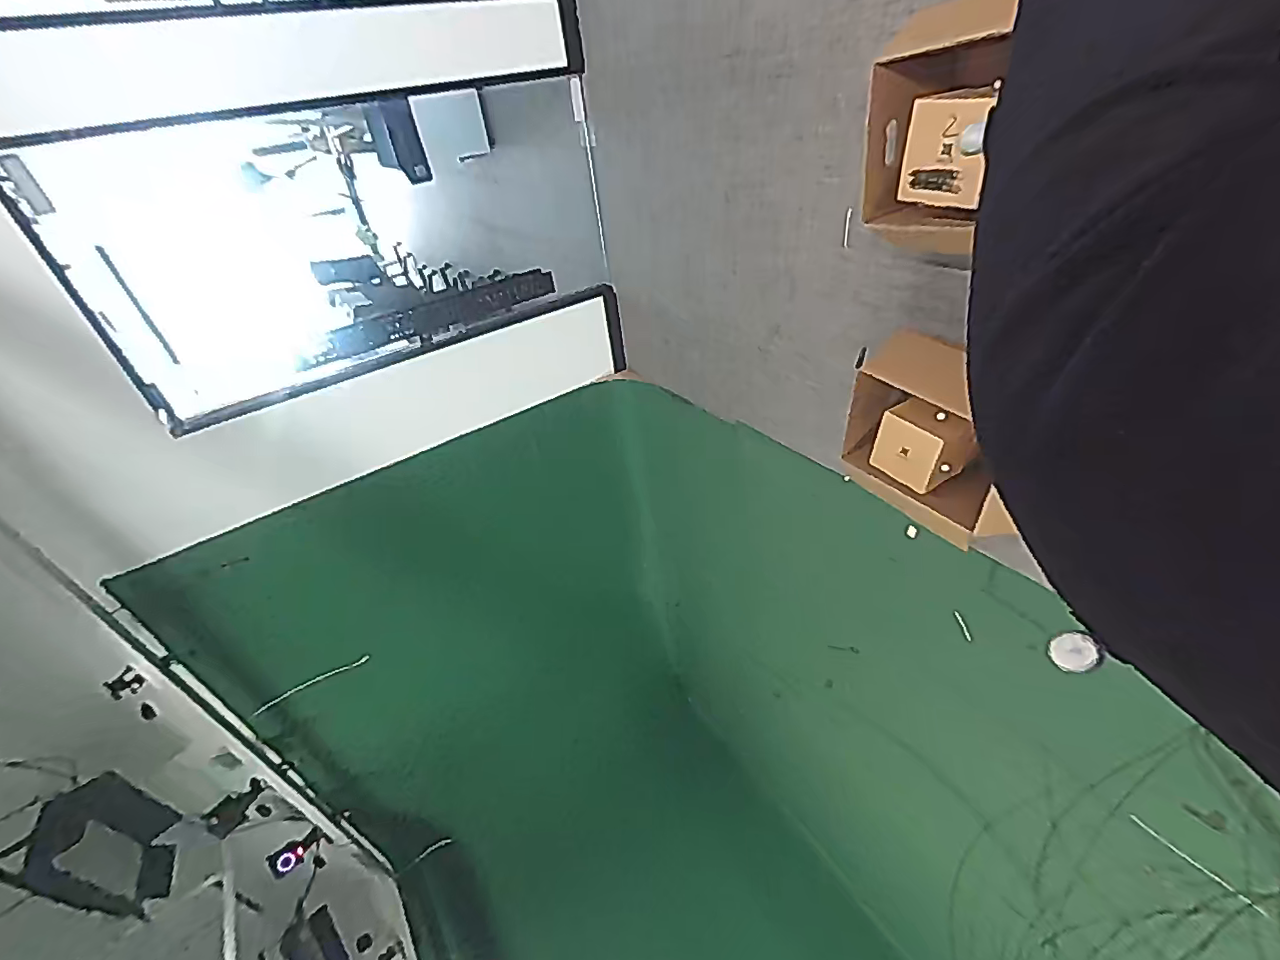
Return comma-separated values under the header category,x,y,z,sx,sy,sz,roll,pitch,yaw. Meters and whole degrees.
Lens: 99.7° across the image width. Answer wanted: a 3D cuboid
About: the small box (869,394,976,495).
category,x,y,z,sx,sy,sz,roll,pitch,yaw
small box,0.736,-0.099,1.408,0.168,0.176,0.179,42,147,40
